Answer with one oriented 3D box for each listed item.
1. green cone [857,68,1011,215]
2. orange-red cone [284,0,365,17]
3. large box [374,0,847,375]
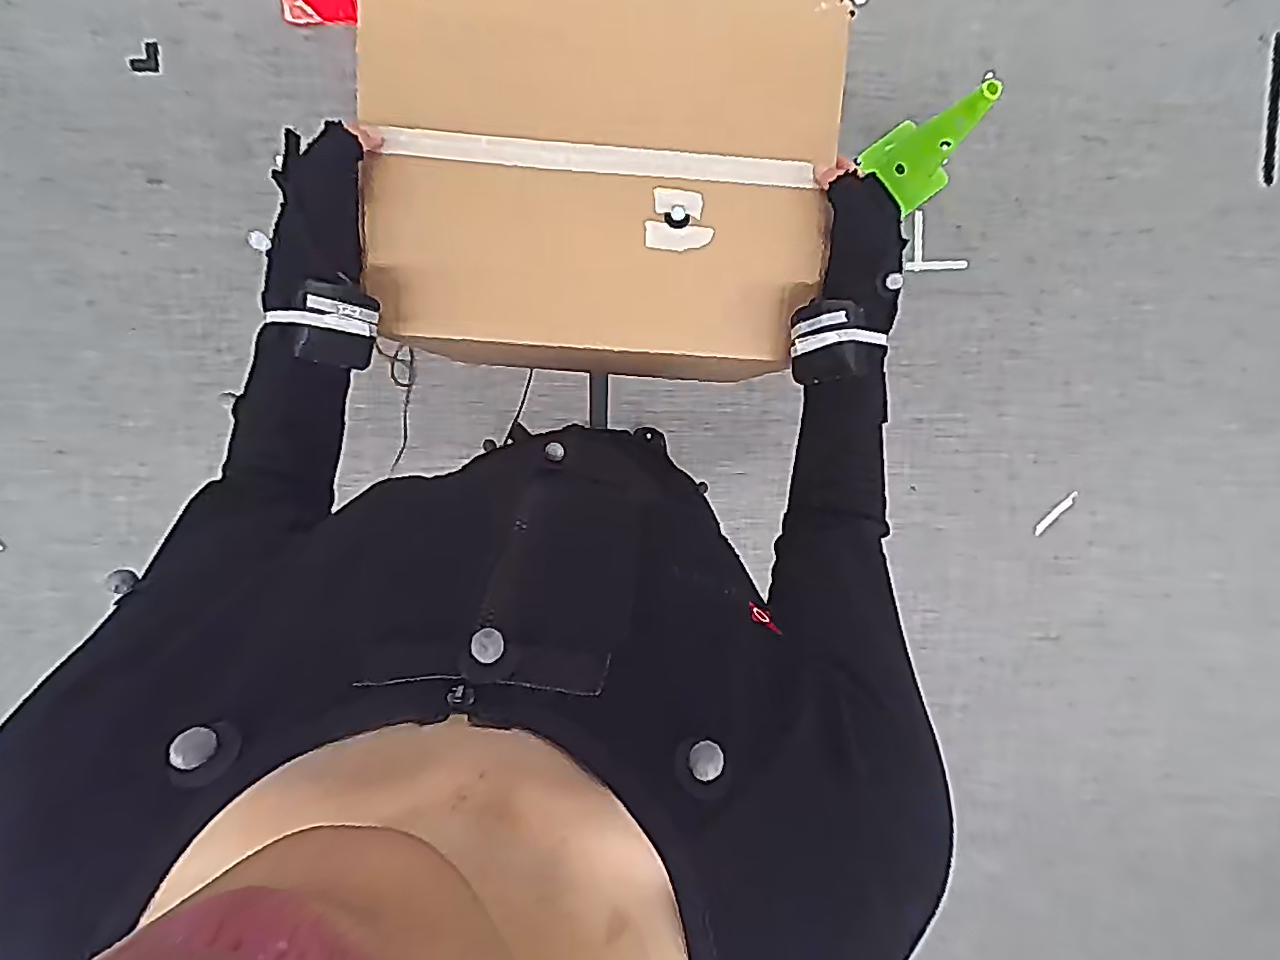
[{"bbox_3d":[0.710,-0.818,1.262,0.202,0.368,0.200,-38,97,0],"label":"green cone"},{"bbox_3d":[-0.770,-1.218,1.150,0.198,0.360,0.199,-2,97,-2],"label":"orange-red cone"},{"bbox_3d":[-0.036,-0.295,0.615,0.408,0.320,0.320,3,97,-4],"label":"large box"}]
